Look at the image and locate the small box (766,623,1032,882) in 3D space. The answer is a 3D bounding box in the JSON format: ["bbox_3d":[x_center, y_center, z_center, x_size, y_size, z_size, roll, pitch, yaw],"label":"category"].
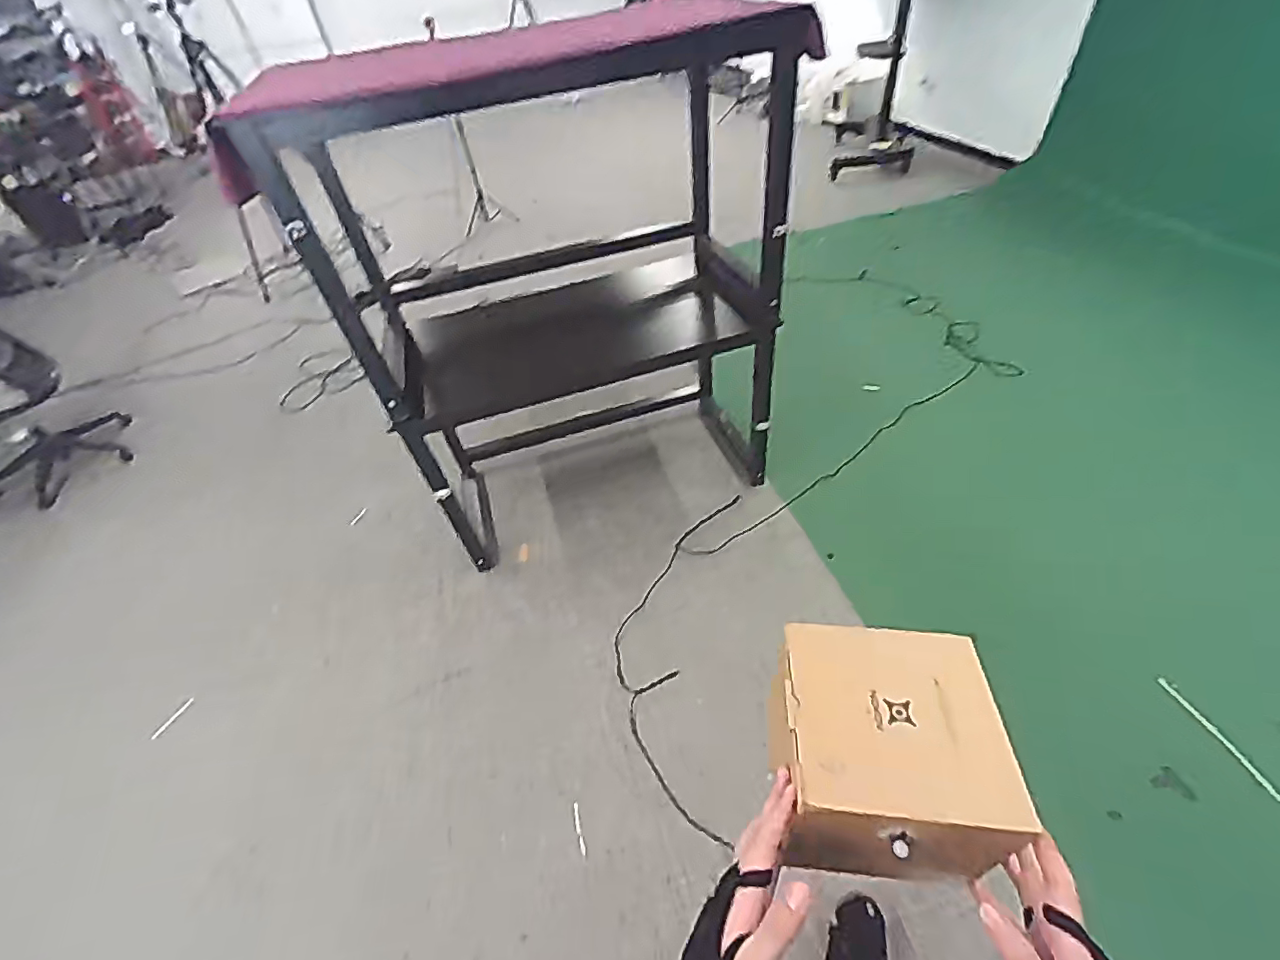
[{"bbox_3d":[0.215,0.257,0.513,0.179,0.176,0.168,2,42,7],"label":"small box"}]
